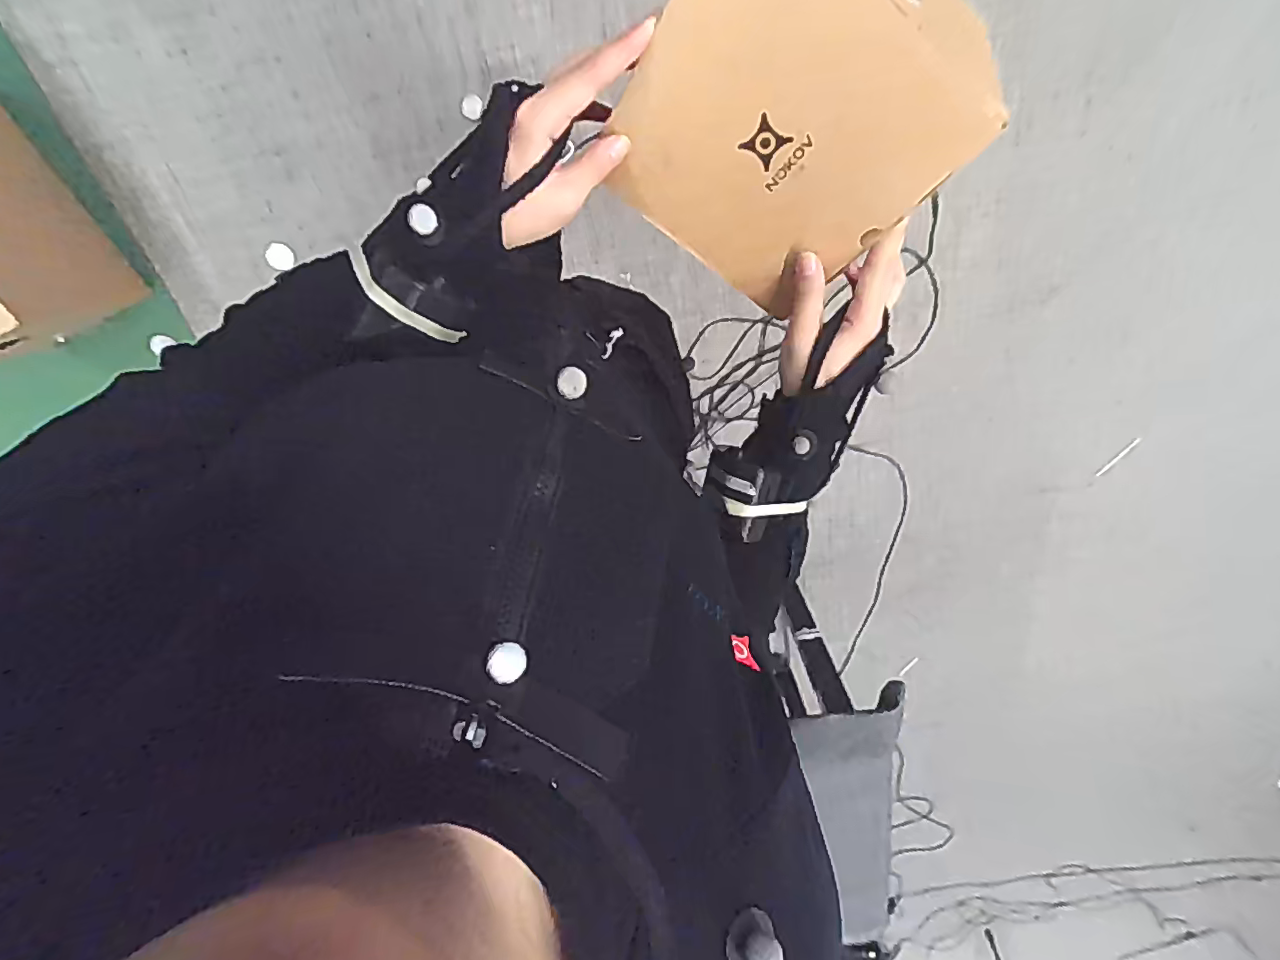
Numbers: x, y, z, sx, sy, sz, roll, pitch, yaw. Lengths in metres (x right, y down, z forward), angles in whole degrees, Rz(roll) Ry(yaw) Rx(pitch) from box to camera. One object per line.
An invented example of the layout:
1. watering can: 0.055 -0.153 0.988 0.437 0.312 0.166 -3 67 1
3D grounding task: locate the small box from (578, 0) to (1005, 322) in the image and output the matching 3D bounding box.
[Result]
1. small box: 0.092 -0.249 0.352 0.179 0.176 0.168 31 142 -17
